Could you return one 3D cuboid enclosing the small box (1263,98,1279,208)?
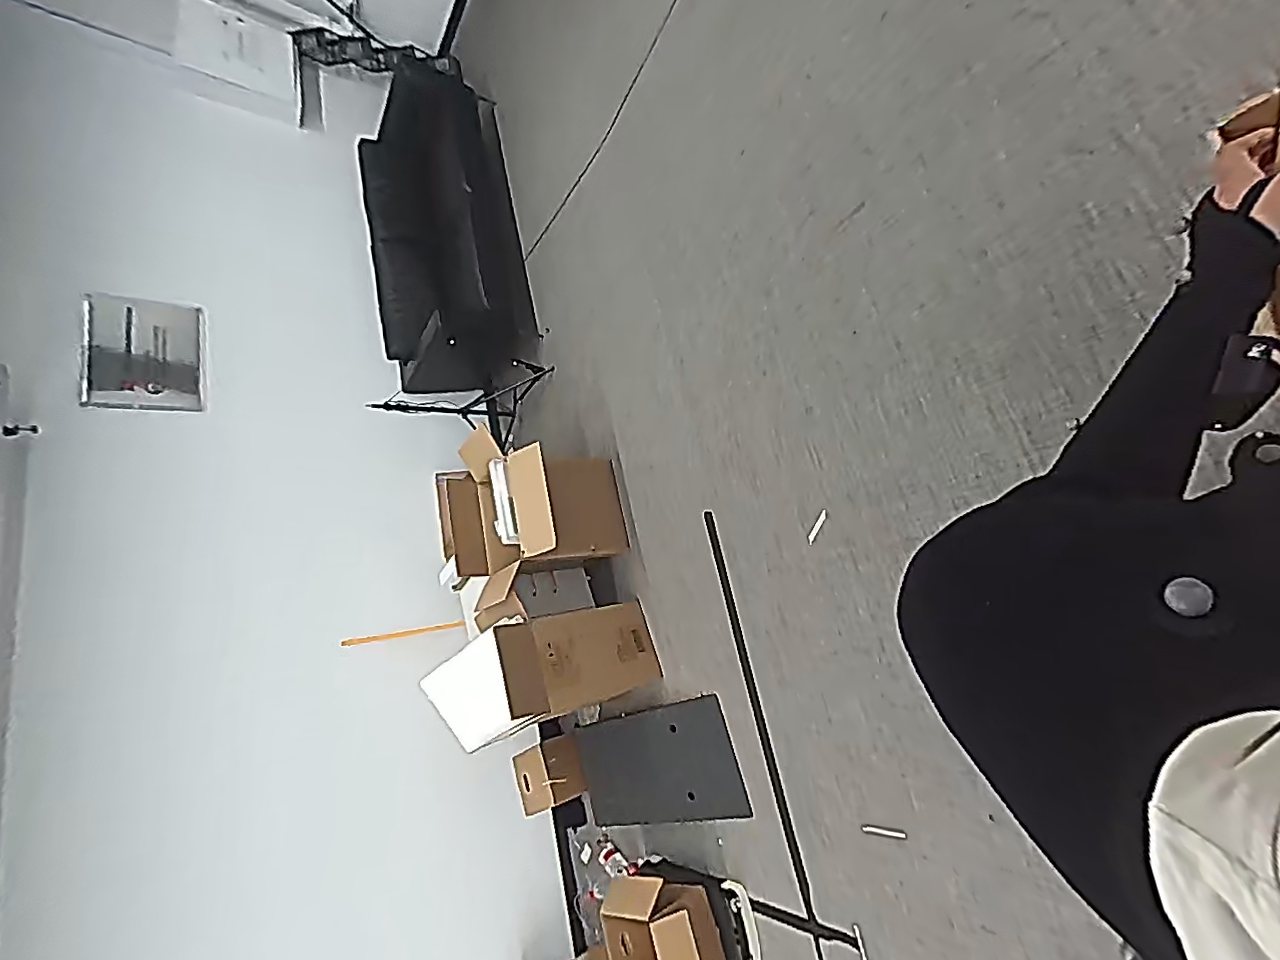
[{"bbox_3d":[0.655,-0.317,0.425,0.179,0.176,0.168,13,101,59],"label":"small box"}]
